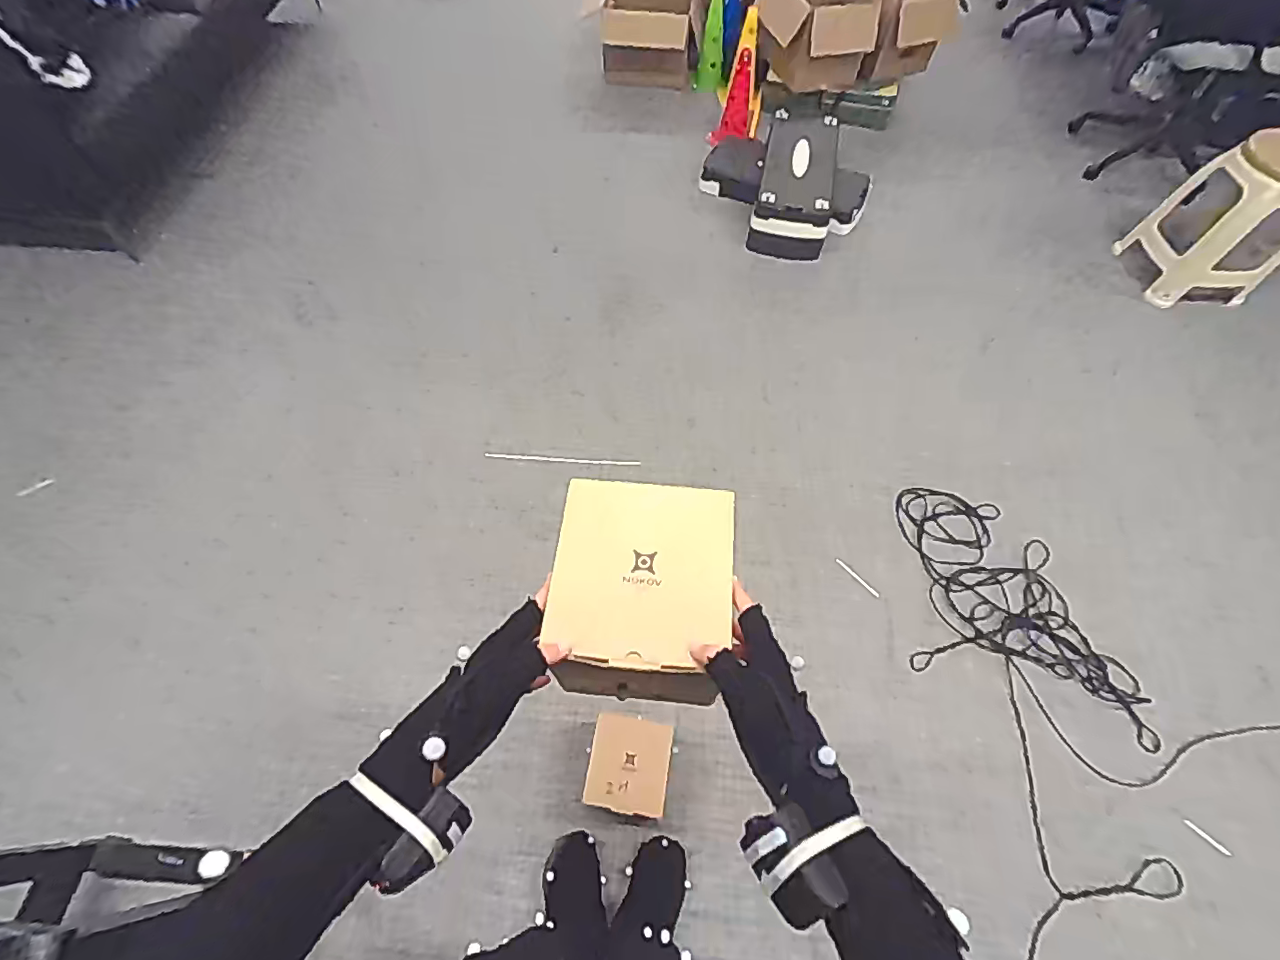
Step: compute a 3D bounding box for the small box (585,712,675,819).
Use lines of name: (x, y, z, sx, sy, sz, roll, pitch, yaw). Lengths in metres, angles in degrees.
small box: (-0.019, 0.629, 1.193, 0.168, 0.176, 0.179, 8, 61, 5)
